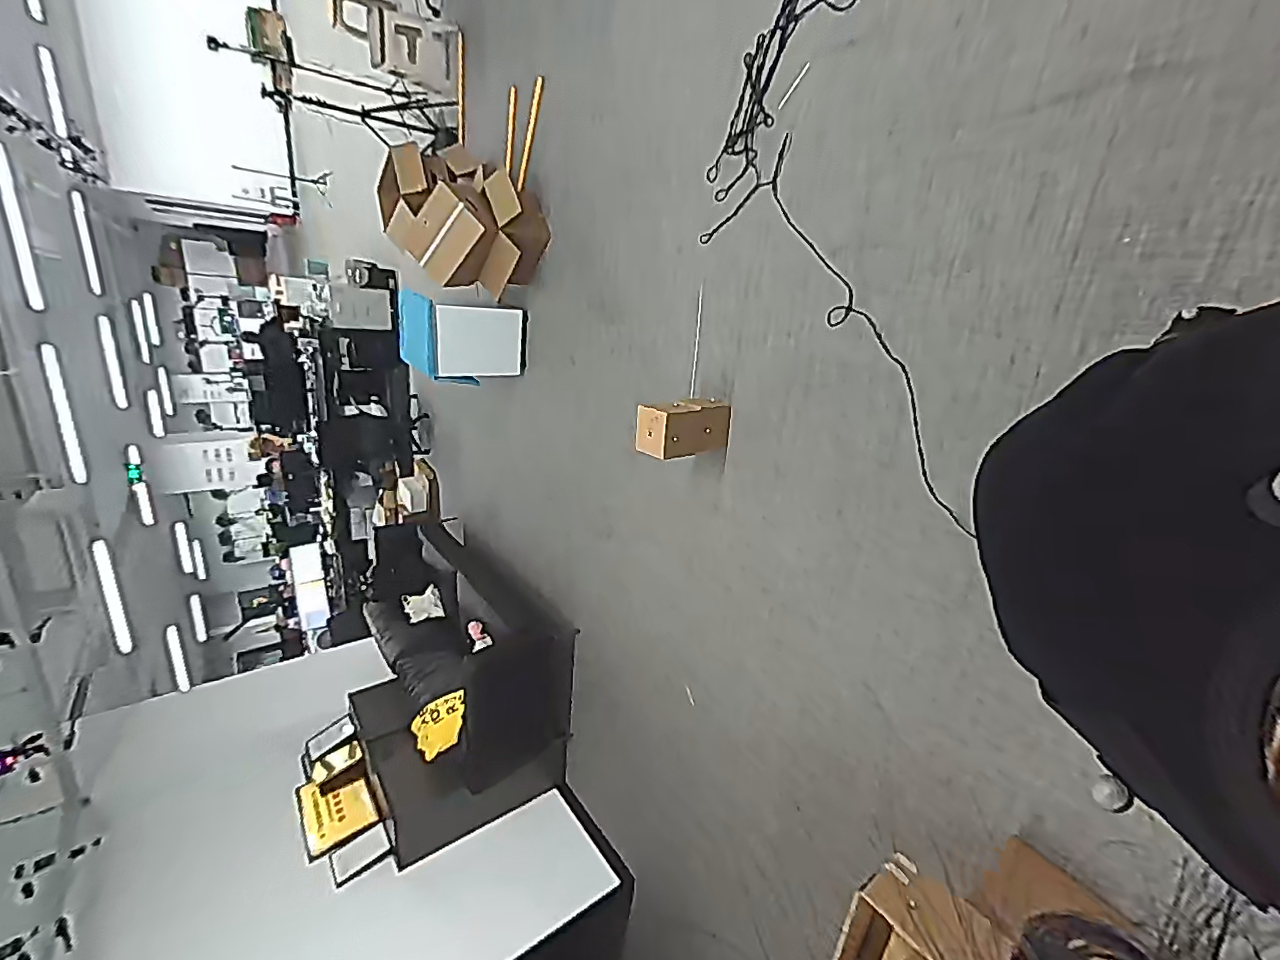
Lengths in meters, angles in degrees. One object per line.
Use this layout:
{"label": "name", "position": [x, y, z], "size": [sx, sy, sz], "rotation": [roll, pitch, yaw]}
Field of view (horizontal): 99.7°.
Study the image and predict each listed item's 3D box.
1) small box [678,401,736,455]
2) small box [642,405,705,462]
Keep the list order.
{"label": "small box", "position": [0.257, -0.210, 2.114], "size": [0.168, 0.176, 0.179], "rotation": [25, 116, 49]}
{"label": "small box", "position": [0.125, -0.179, 2.021], "size": [0.168, 0.176, 0.179], "rotation": [25, 117, 48]}
